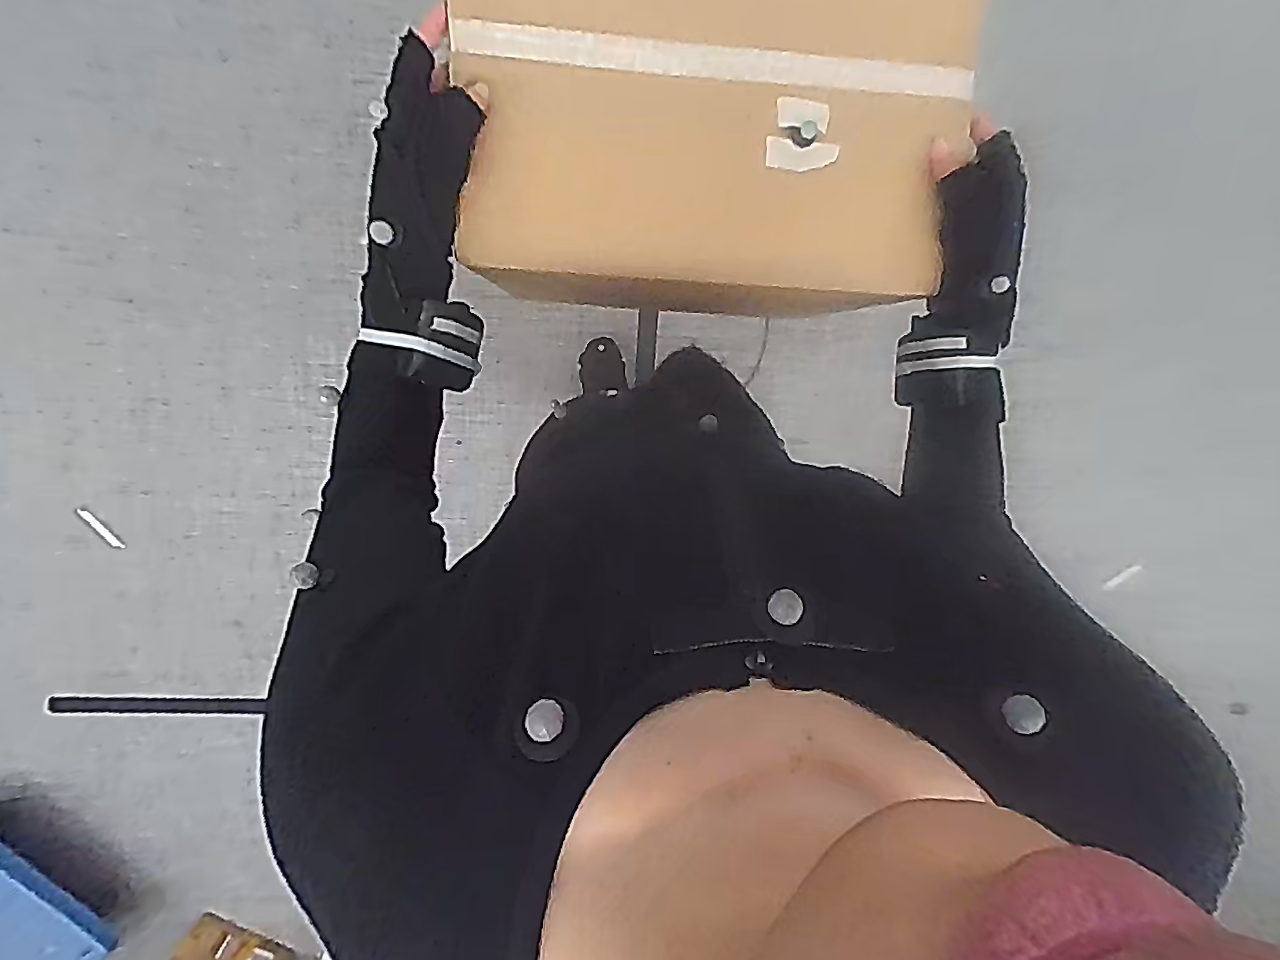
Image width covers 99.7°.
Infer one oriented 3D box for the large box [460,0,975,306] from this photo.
[{"bbox_3d":[0.048,-0.362,0.565,0.408,0.320,0.320,1,104,-6],"label":"large box"}]
